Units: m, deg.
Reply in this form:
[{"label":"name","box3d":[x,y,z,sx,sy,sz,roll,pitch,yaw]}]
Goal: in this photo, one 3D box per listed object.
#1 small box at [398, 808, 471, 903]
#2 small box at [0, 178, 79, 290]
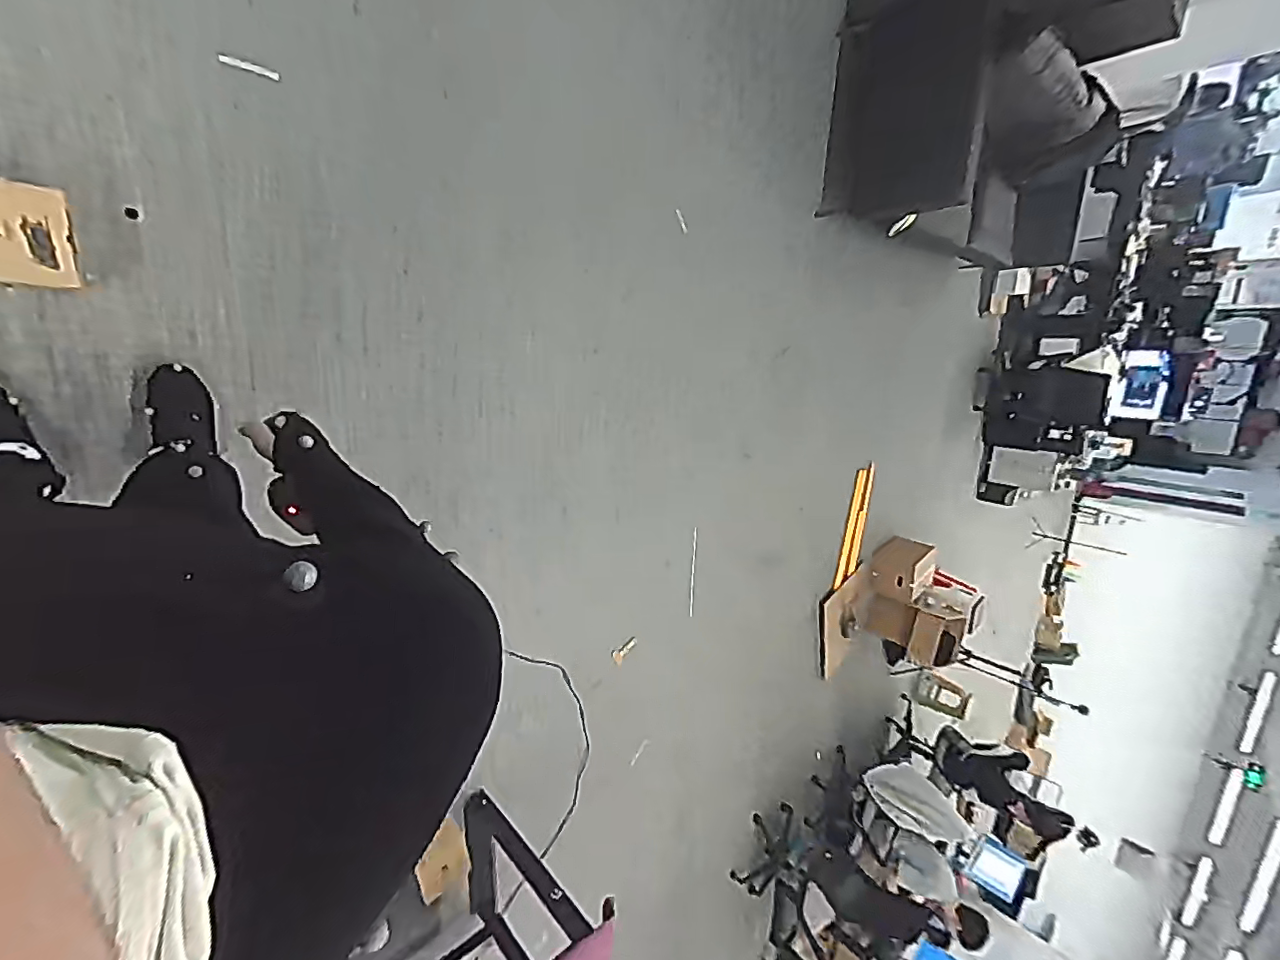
[{"label":"small box","box3d":[-0.697,1.254,1.828,0.168,0.176,0.179,-21,115,-39]},{"label":"small box","box3d":[-1.123,-0.433,0.951,0.179,0.176,0.168,-9,106,-42]}]
